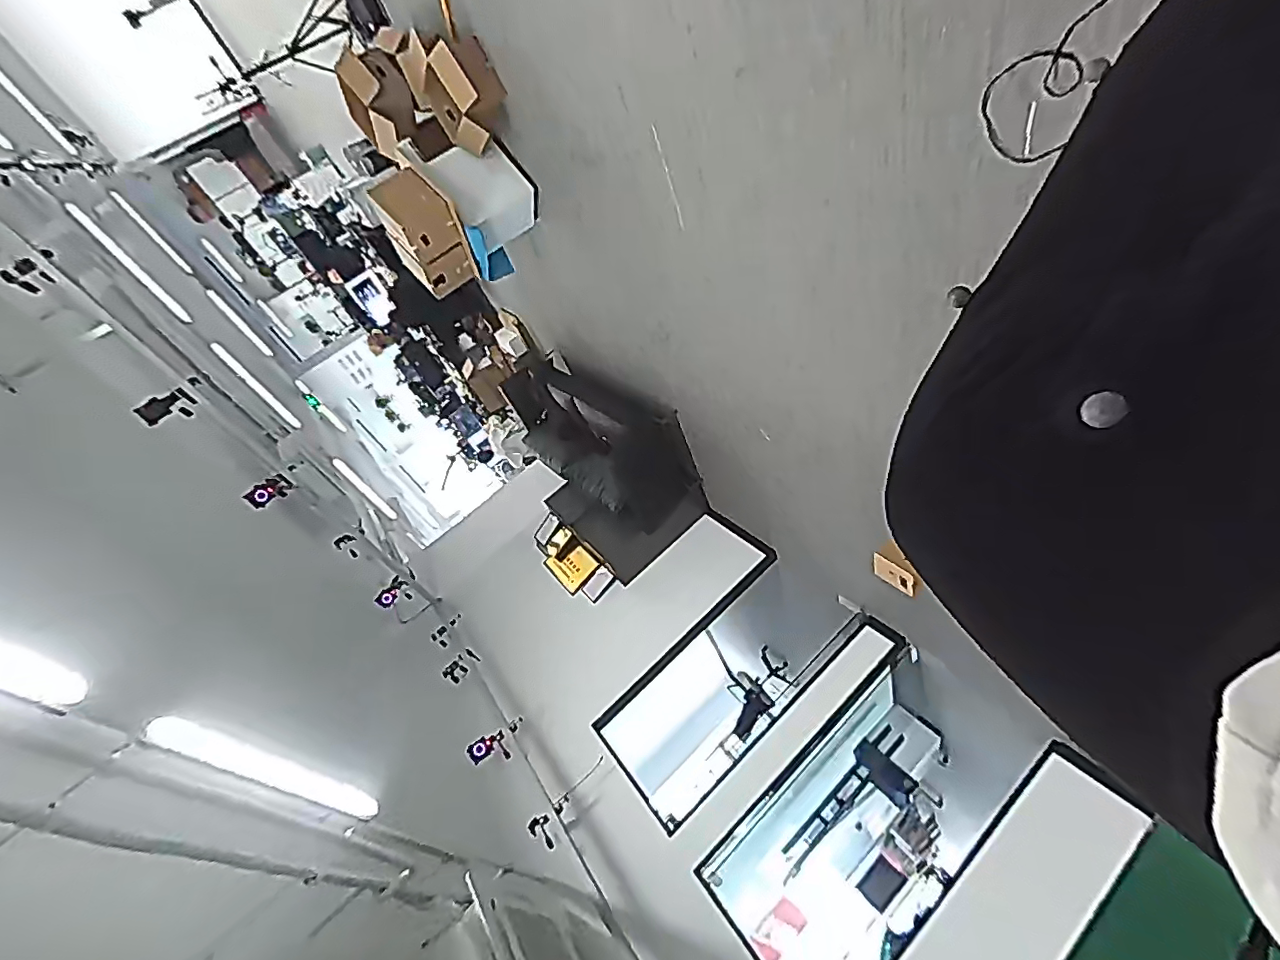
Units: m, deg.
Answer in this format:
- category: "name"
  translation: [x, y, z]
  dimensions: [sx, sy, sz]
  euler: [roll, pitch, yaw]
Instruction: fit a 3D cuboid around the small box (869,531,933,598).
- category: "small box"
  translation: [1.060, 0.340, 2.198]
  dimensions: [0.179, 0.176, 0.168]
  euler: [37, 160, 42]
